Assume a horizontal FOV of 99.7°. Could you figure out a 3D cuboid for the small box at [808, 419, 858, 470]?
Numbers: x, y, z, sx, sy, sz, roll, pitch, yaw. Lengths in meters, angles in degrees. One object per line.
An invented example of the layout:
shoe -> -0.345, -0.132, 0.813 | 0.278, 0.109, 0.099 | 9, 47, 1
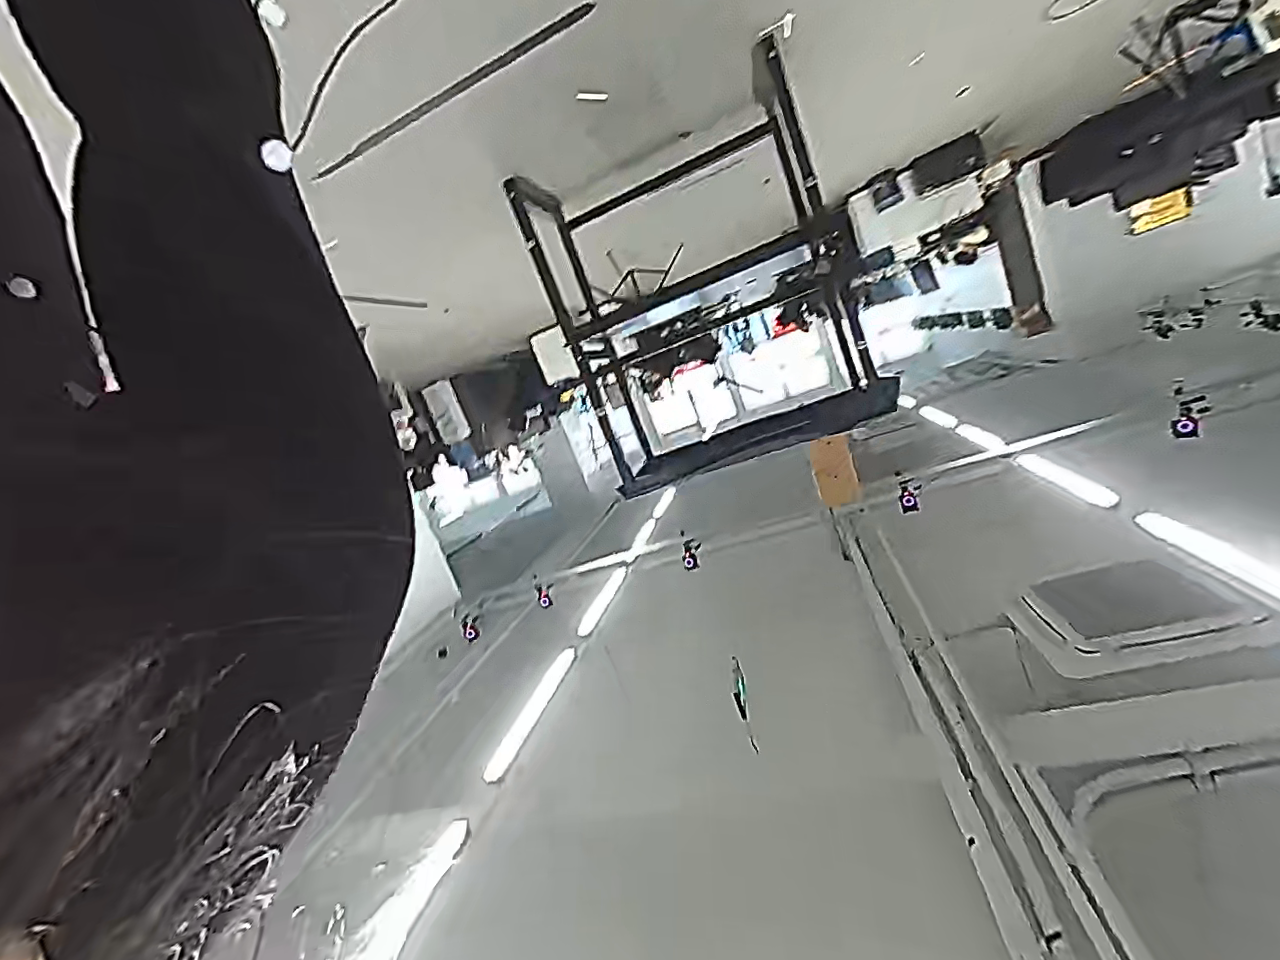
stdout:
small box -> 0.846, -0.163, 2.381 | 0.168, 0.176, 0.179 | -17, -168, 18
